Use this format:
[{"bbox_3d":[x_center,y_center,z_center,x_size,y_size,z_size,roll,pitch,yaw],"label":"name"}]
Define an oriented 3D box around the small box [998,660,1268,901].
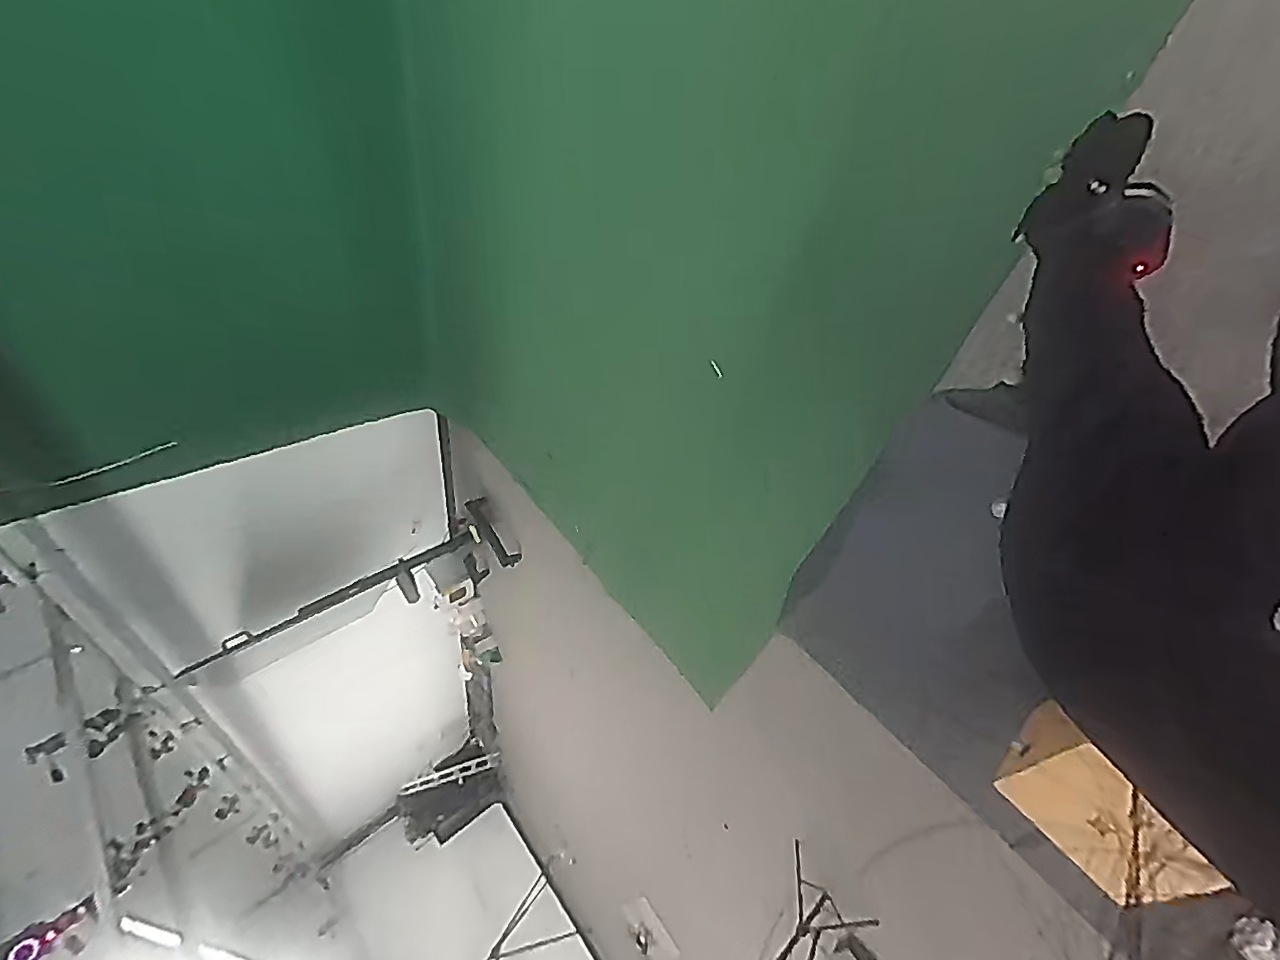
[{"bbox_3d":[0.596,0.359,0.659,0.168,0.176,0.179,44,140,26],"label":"small box"}]
